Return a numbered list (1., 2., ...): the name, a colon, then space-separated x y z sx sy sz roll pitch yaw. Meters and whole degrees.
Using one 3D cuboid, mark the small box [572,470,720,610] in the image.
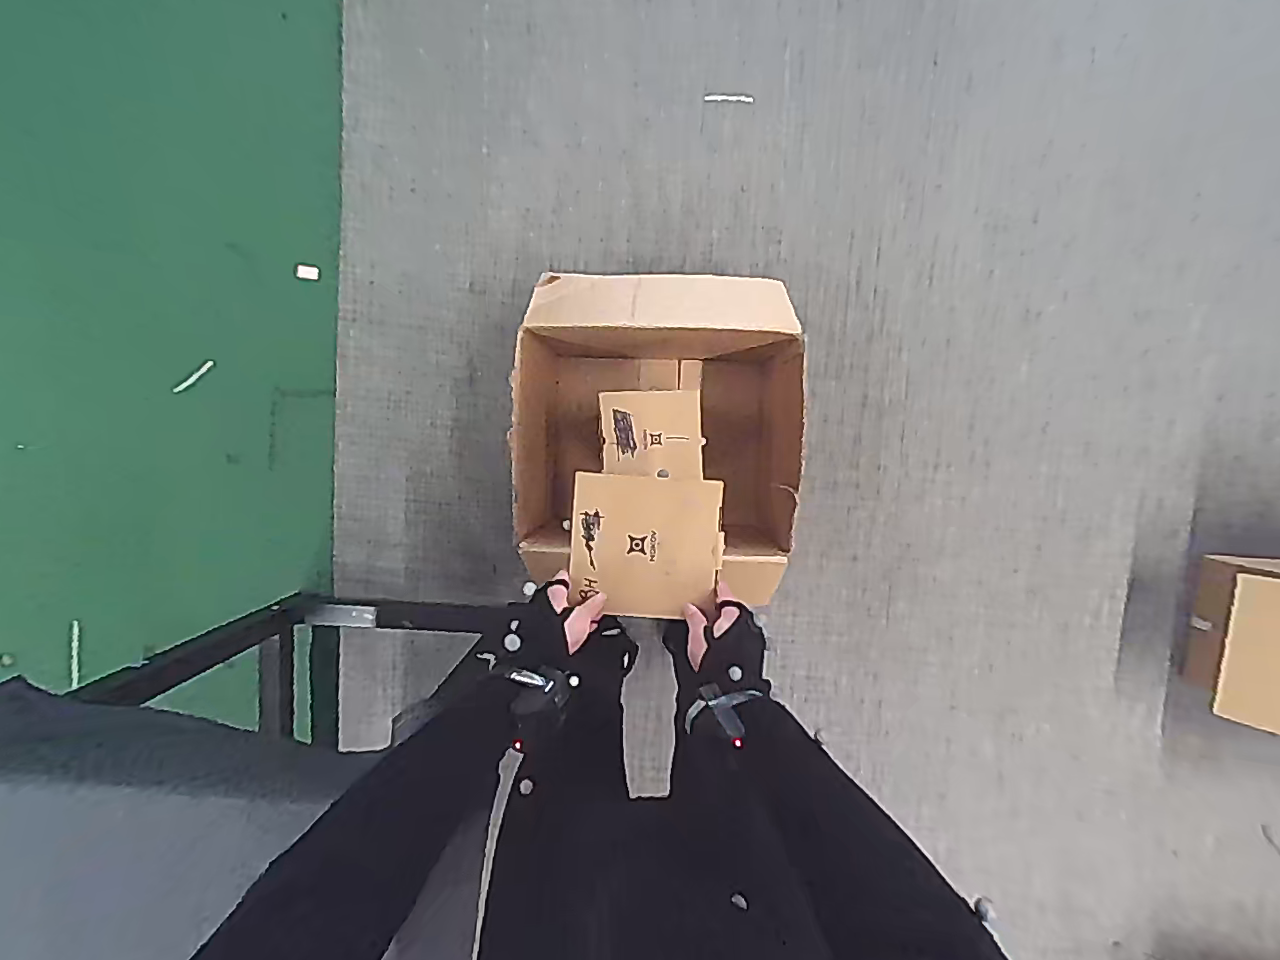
1. small box: 0.010 0.073 0.732 0.179 0.176 0.168 2 88 3
